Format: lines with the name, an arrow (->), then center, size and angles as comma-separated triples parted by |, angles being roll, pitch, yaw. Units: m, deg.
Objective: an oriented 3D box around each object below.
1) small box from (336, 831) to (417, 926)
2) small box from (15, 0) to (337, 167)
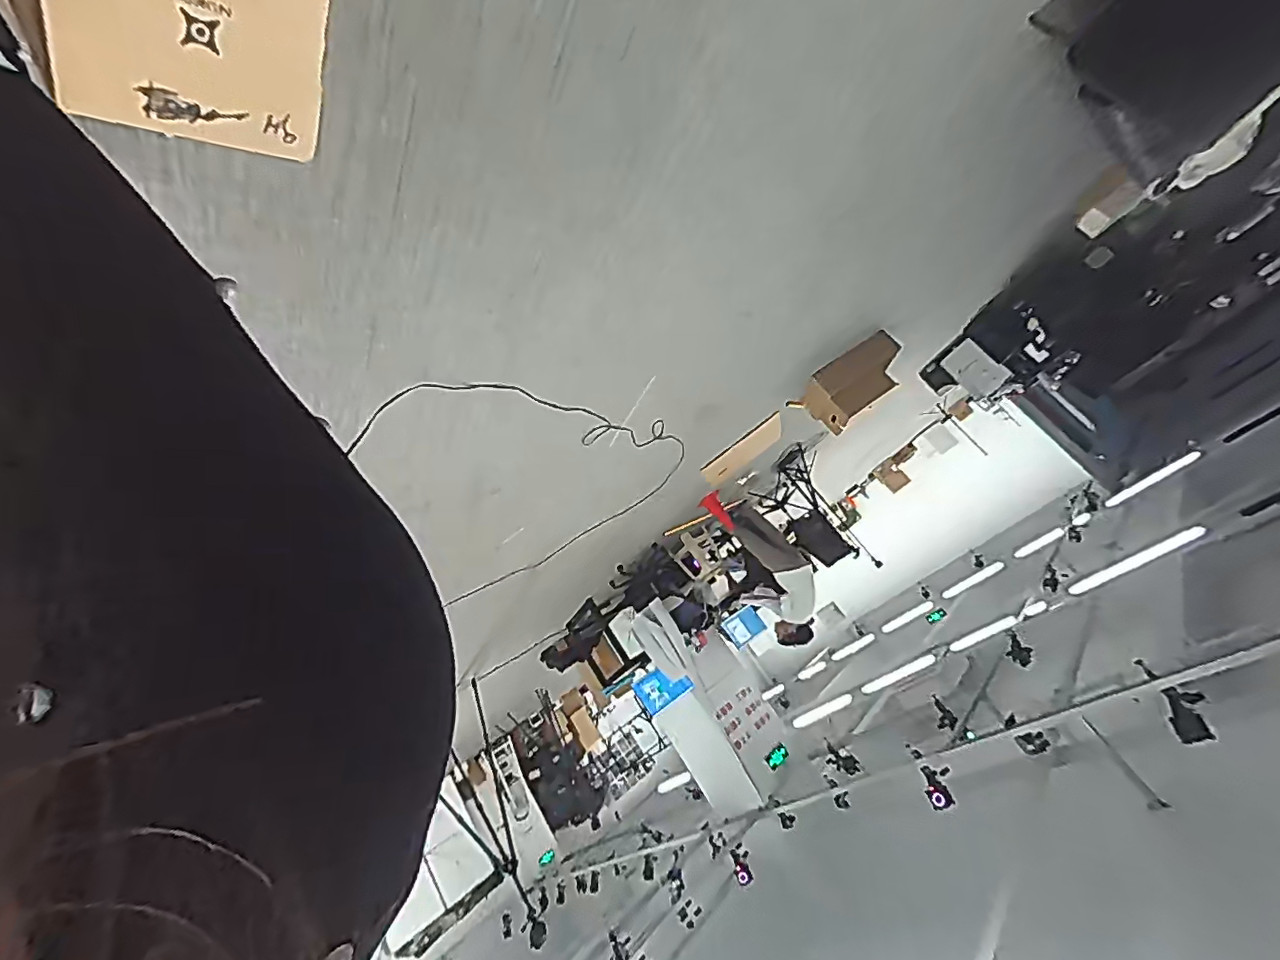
small box -> -0.794, 1.190, 1.621 | 0.168, 0.176, 0.179 | -19, 155, -40
small box -> -0.358, -0.386, 0.411 | 0.168, 0.176, 0.179 | -17, 152, -47
